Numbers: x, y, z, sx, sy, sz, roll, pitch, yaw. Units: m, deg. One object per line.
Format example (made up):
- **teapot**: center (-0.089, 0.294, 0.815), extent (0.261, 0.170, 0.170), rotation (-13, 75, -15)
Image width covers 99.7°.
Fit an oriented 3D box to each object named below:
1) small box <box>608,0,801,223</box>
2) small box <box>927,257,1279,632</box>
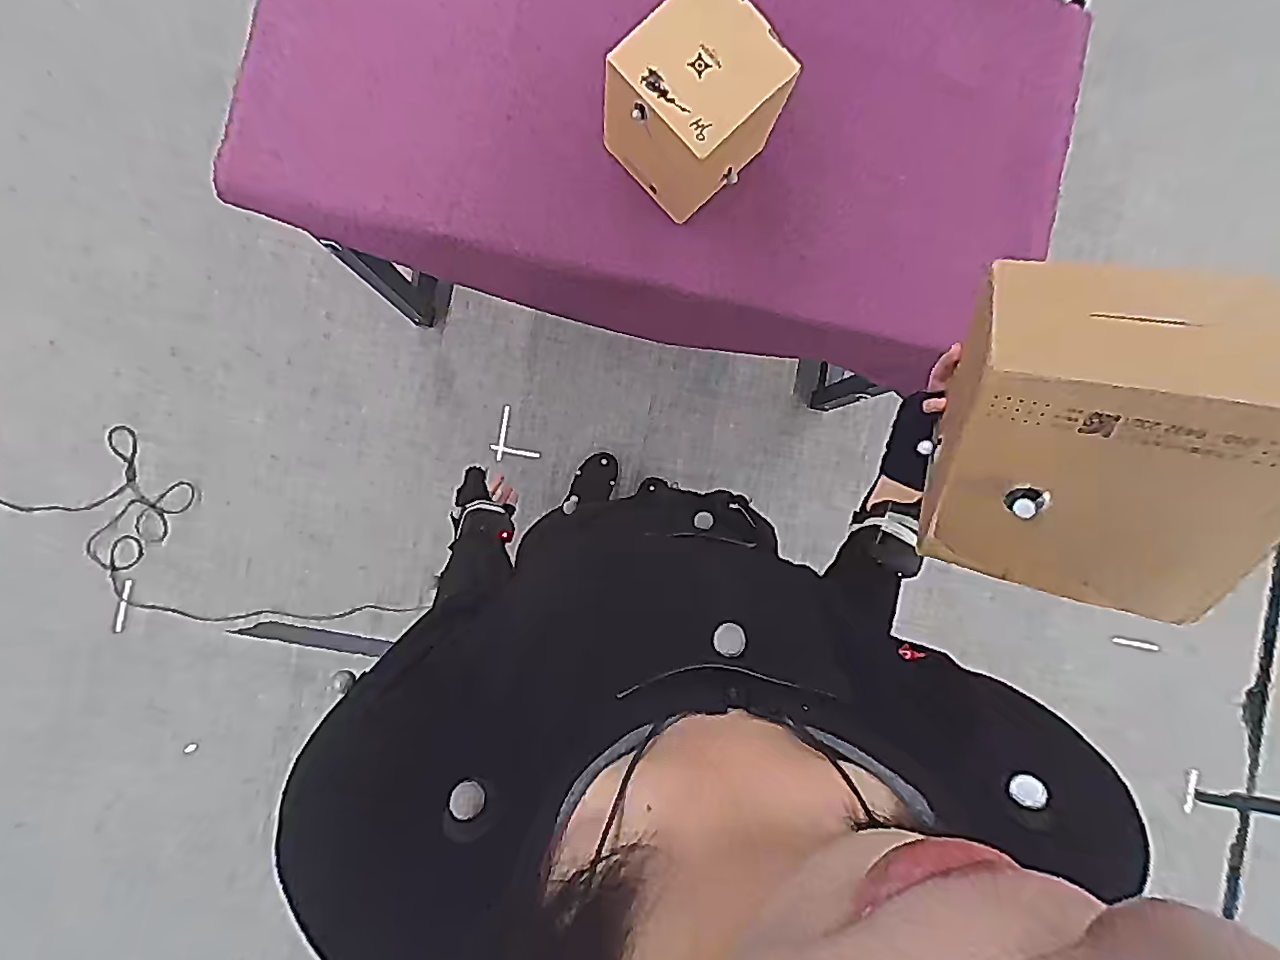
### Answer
- **small box**: center (0.070, -0.488, 0.716), extent (0.179, 0.176, 0.168), rotation (-44, 93, -5)
- **small box**: center (0.314, -0.037, 0.369), extent (0.168, 0.176, 0.179), rotation (17, 46, 22)
